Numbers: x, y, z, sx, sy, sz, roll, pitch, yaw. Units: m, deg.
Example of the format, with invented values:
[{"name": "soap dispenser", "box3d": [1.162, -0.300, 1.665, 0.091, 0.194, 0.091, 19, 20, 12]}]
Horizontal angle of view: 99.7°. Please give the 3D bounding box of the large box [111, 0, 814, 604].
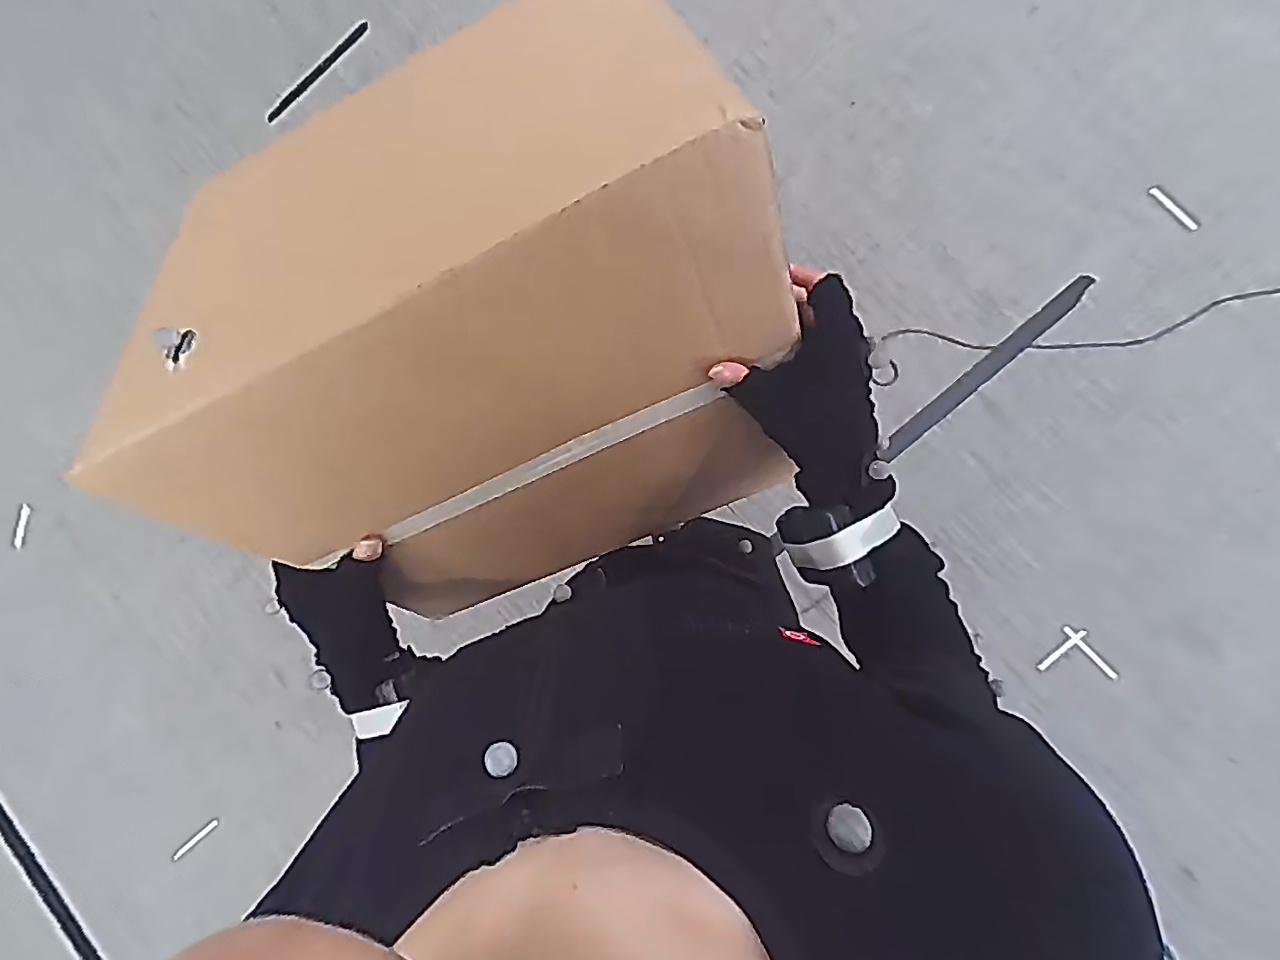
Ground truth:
[{"name": "large box", "box3d": [-0.111, -0.139, 0.479, 0.408, 0.320, 0.320, -23, 56, 10]}]
